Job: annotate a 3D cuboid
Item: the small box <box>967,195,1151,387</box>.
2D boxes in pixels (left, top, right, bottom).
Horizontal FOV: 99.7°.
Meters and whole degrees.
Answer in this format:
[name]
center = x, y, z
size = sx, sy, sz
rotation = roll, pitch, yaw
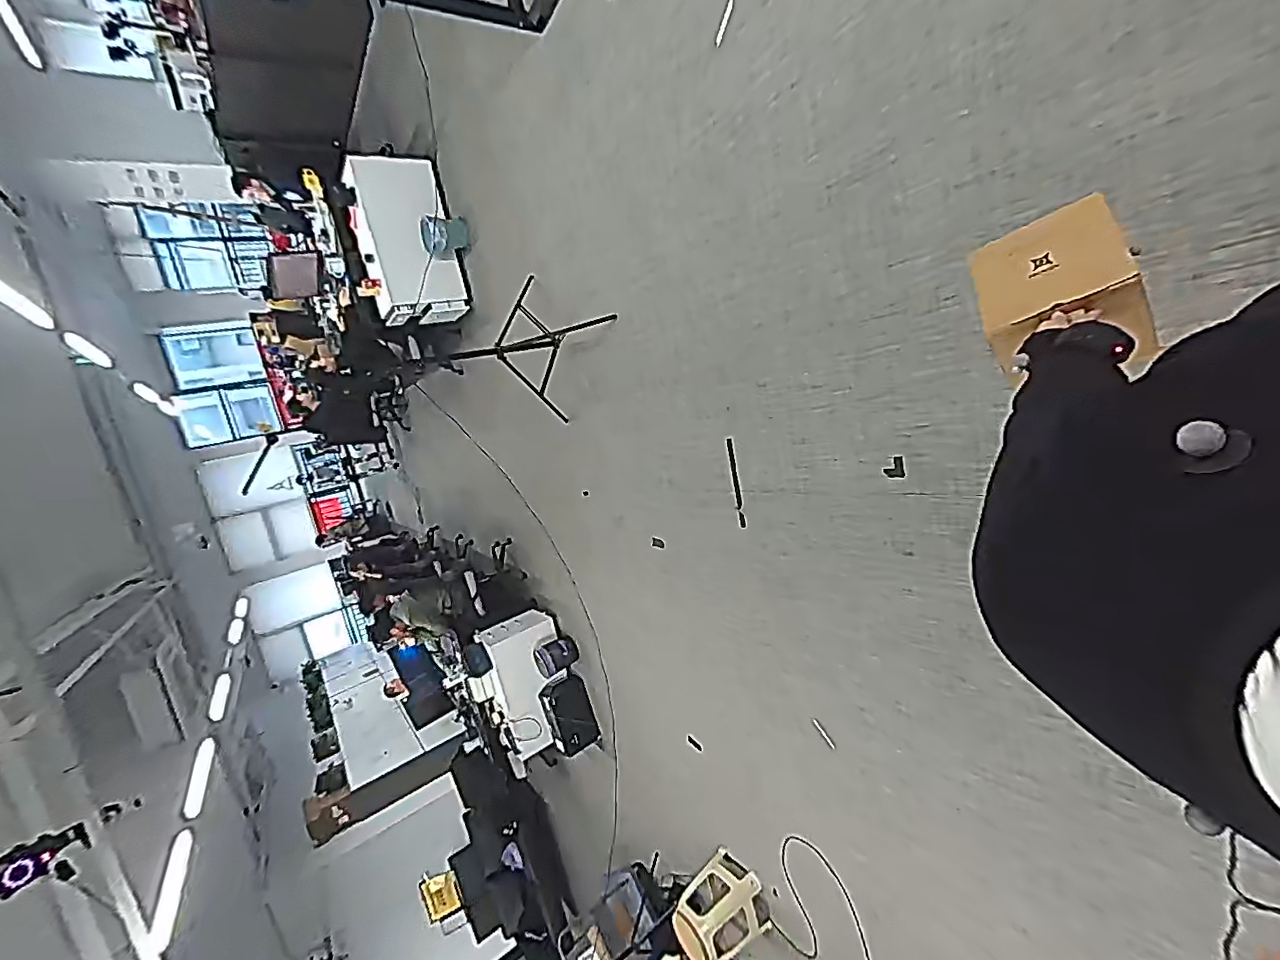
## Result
[small box]
center = 0.607, -0.259, 0.789
size = 0.168, 0.176, 0.179
rotation = -20, 49, 40
